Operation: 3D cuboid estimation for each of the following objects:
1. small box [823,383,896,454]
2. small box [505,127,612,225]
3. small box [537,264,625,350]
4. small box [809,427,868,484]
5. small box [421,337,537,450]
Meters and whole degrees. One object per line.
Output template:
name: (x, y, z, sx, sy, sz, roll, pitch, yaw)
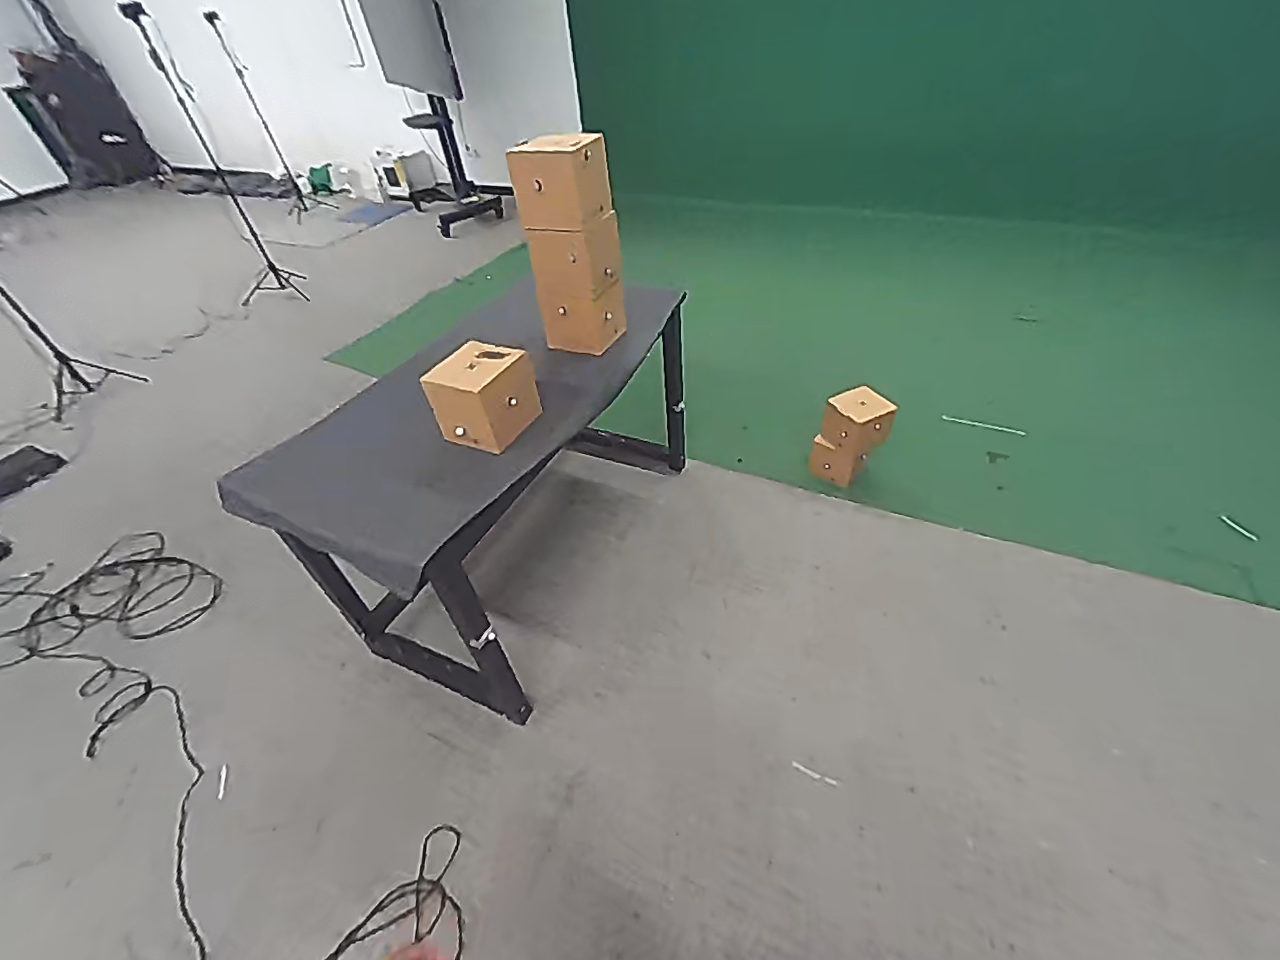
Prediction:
small box: (0.784, -0.220, 1.956, 0.179, 0.176, 0.168, -21, 47, -17)
small box: (-0.185, -0.718, 1.280, 0.179, 0.176, 0.168, 12, 47, 20)
small box: (-0.155, -0.480, 1.504, 0.179, 0.176, 0.168, 15, 47, 22)
small box: (0.770, -0.114, 2.083, 0.168, 0.176, 0.179, 30, 54, 32)
small box: (-0.352, -0.196, 1.223, 0.168, 0.176, 0.179, 16, 48, 23)
